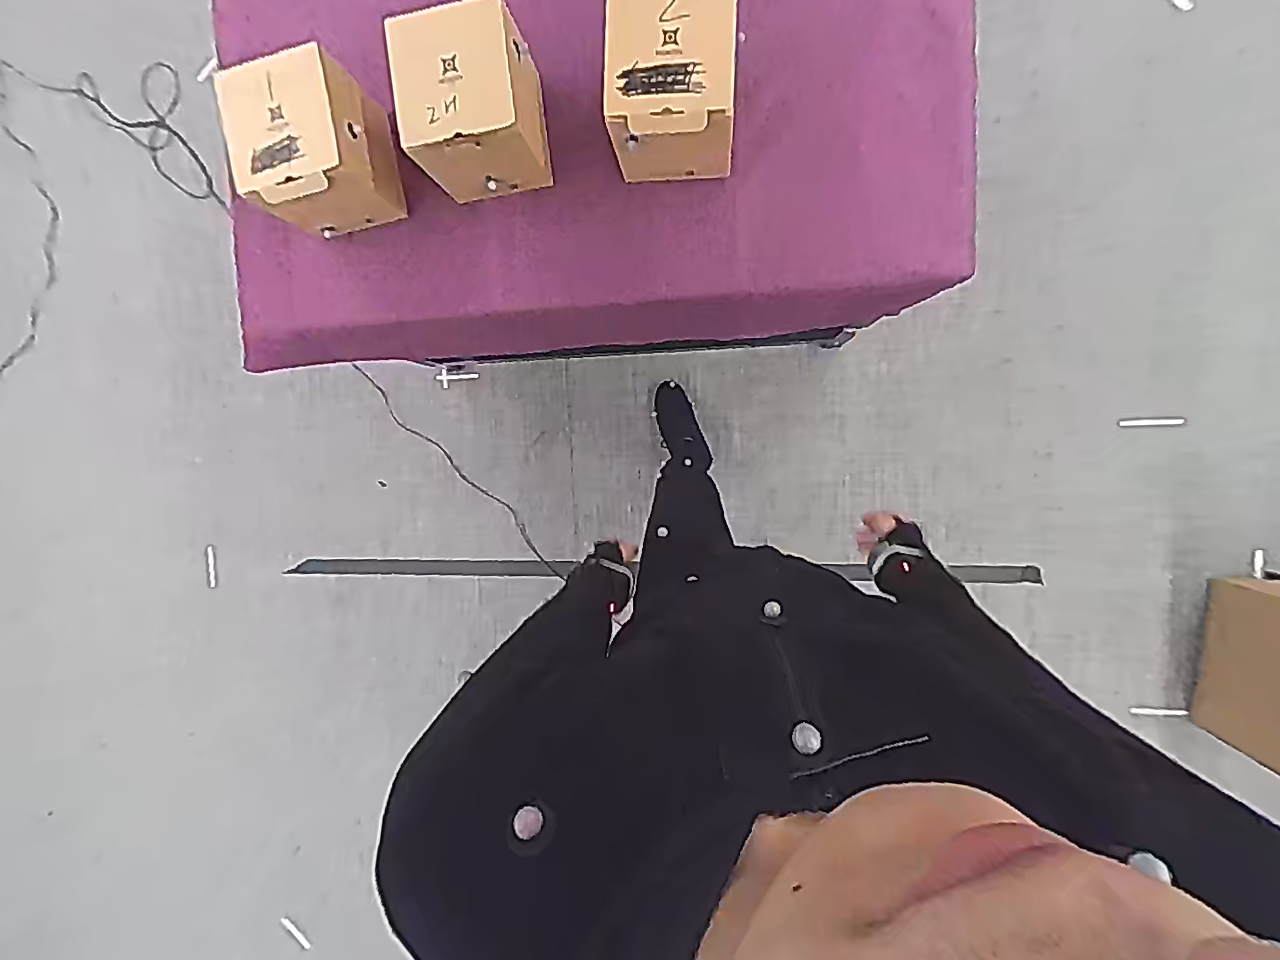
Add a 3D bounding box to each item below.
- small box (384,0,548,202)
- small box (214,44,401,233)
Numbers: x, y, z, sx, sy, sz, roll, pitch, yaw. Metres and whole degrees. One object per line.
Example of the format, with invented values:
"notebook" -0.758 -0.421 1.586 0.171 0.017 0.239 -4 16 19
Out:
"small box" -0.245 -0.546 0.798 0.168 0.176 0.179 -6 93 8
"small box" -0.496 -0.504 0.833 0.168 0.176 0.179 -10 92 7
